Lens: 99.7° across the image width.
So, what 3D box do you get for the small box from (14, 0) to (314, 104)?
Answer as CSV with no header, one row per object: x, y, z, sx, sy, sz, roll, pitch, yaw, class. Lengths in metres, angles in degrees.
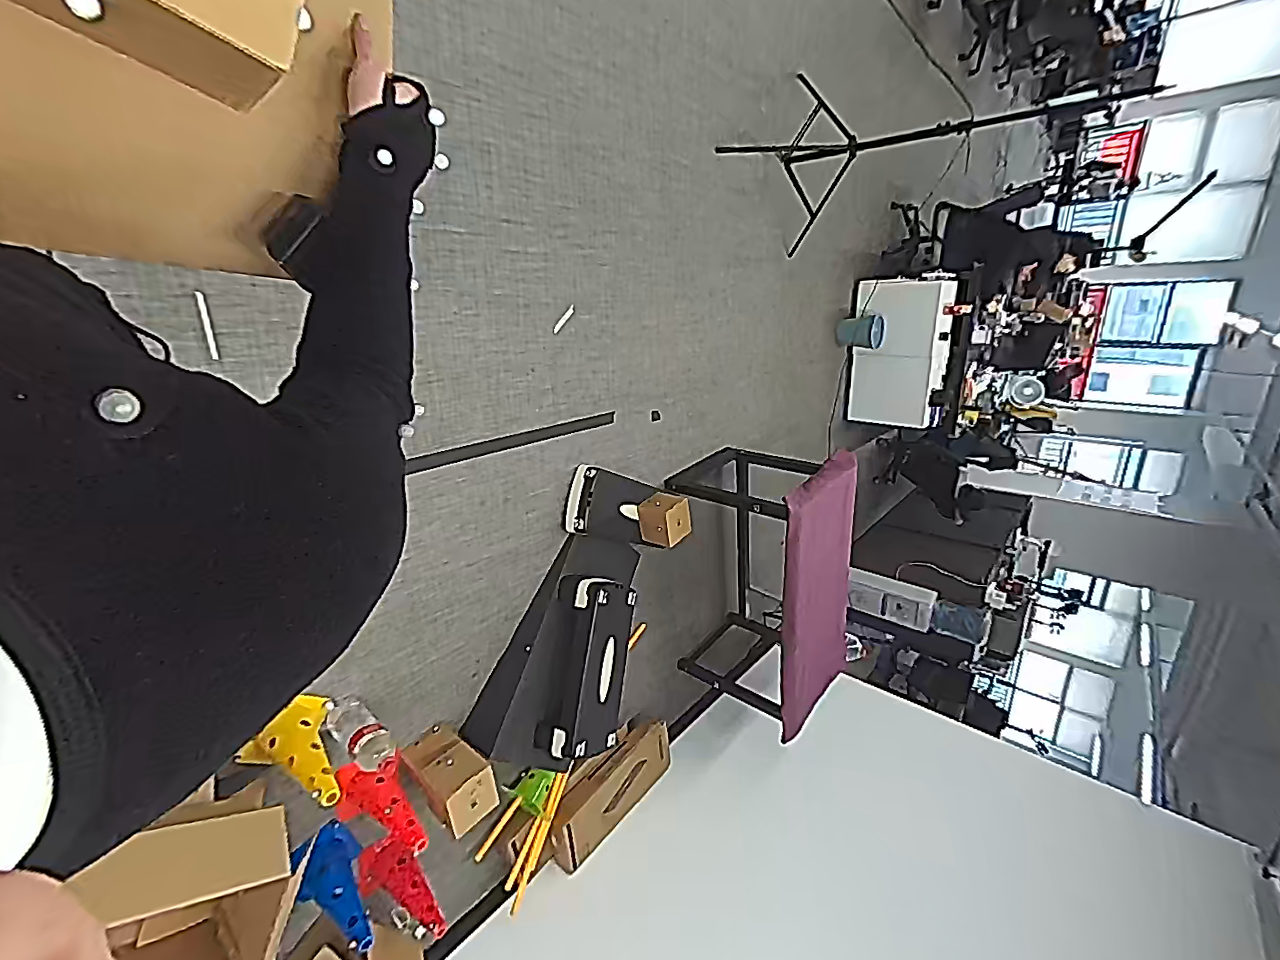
-0.320,-0.377,0.346,0.179,0.176,0.168,9,102,-45,small box
